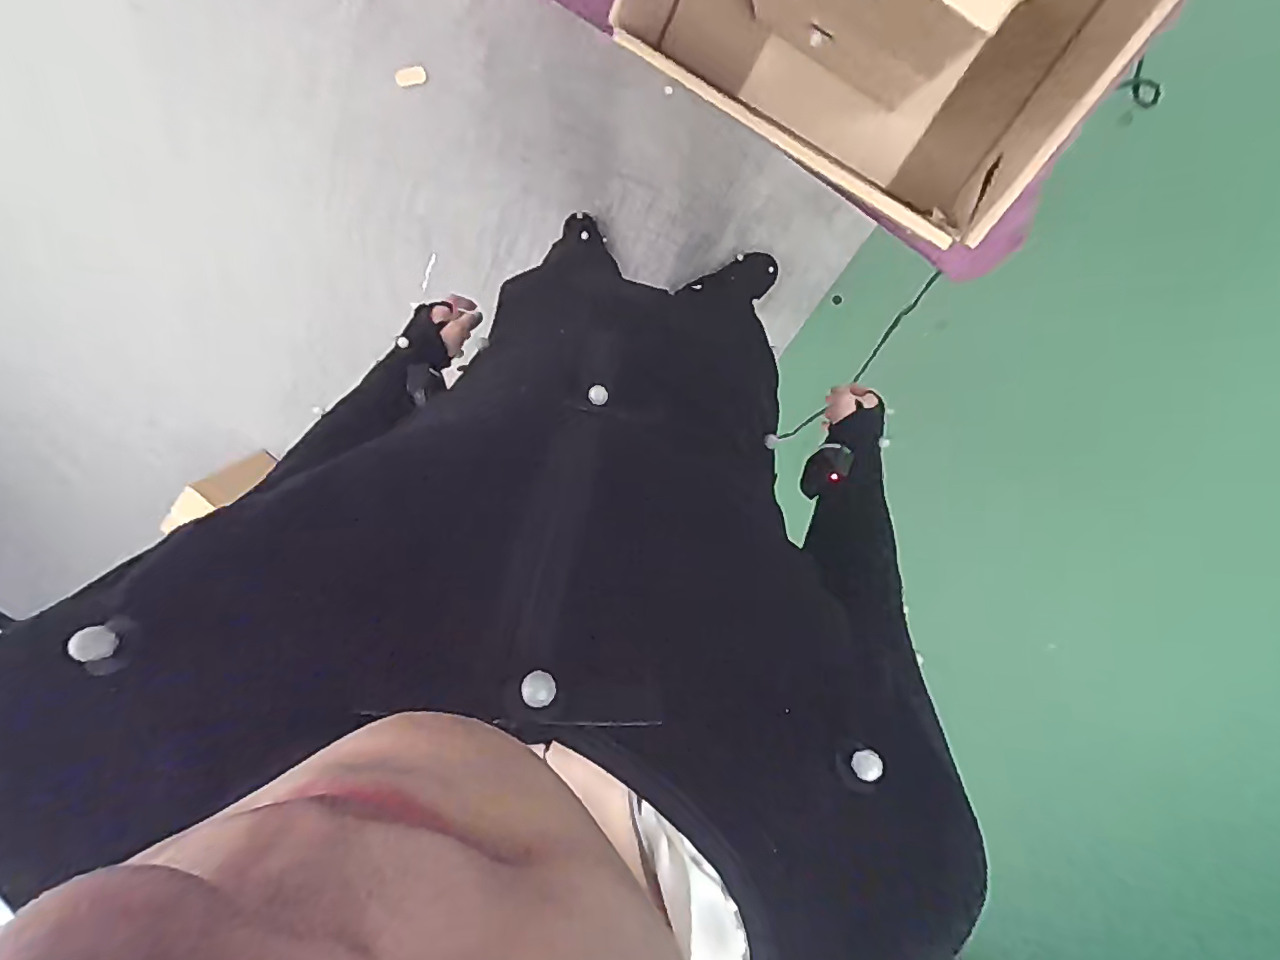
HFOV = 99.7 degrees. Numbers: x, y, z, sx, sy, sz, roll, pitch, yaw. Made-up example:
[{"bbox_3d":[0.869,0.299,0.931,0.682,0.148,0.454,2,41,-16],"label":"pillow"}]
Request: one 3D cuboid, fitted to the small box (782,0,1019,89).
[{"bbox_3d":[0.180,-0.380,0.331,0.179,0.176,0.168,34,120,-4],"label":"small box"}]
